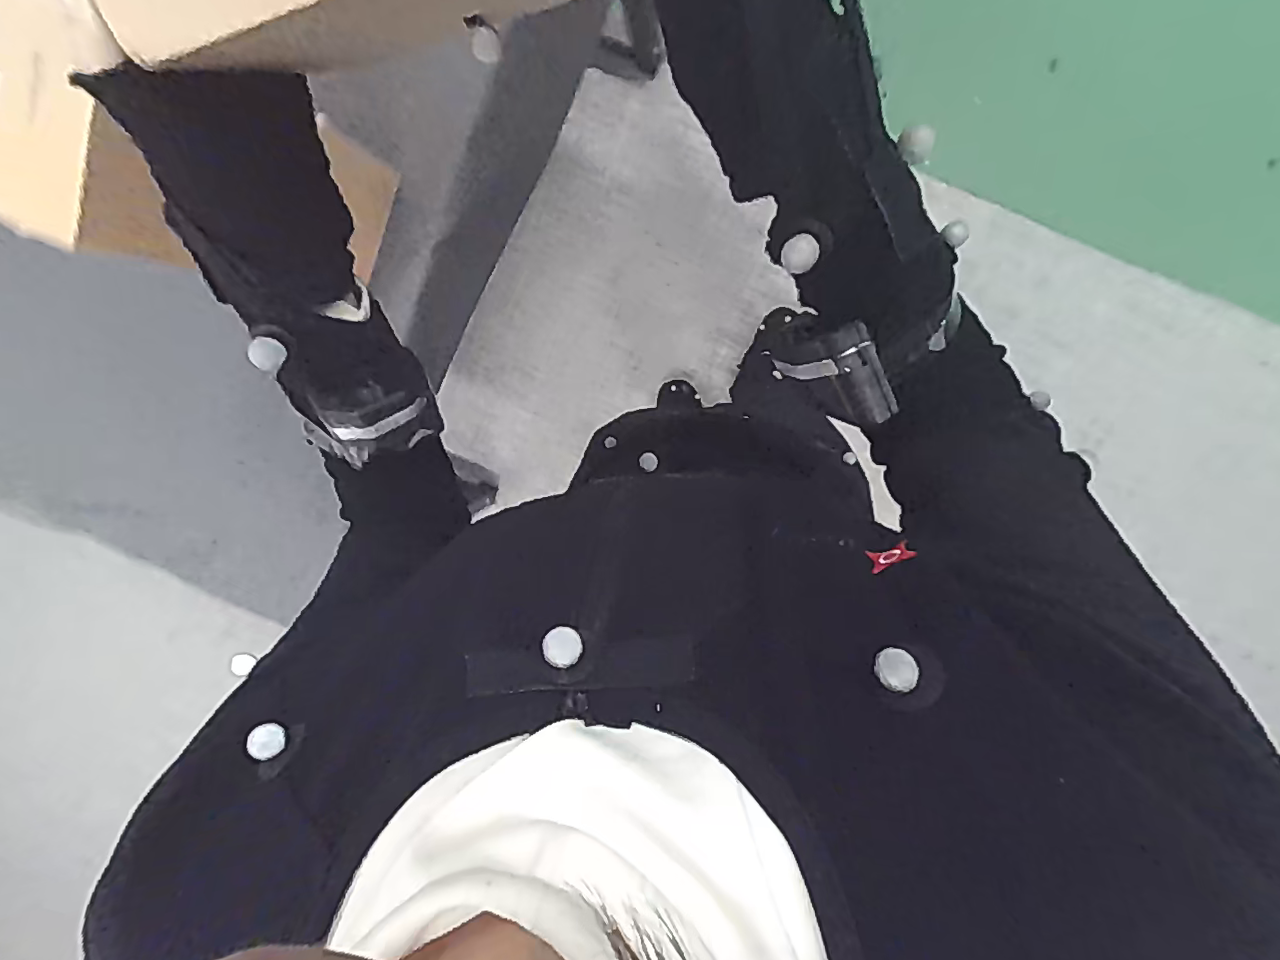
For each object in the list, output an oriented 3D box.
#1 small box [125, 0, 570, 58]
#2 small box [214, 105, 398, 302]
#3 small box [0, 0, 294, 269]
[{"bbox_3d":[-0.093,-0.267,0.183,0.179,0.176,0.168,-11,125,7],"label":"small box"},{"bbox_3d":[-0.410,-0.321,0.620,0.168,0.176,0.179,24,103,1],"label":"small box"},{"bbox_3d":[-0.438,-0.291,0.447,0.179,0.176,0.168,22,105,1],"label":"small box"}]
